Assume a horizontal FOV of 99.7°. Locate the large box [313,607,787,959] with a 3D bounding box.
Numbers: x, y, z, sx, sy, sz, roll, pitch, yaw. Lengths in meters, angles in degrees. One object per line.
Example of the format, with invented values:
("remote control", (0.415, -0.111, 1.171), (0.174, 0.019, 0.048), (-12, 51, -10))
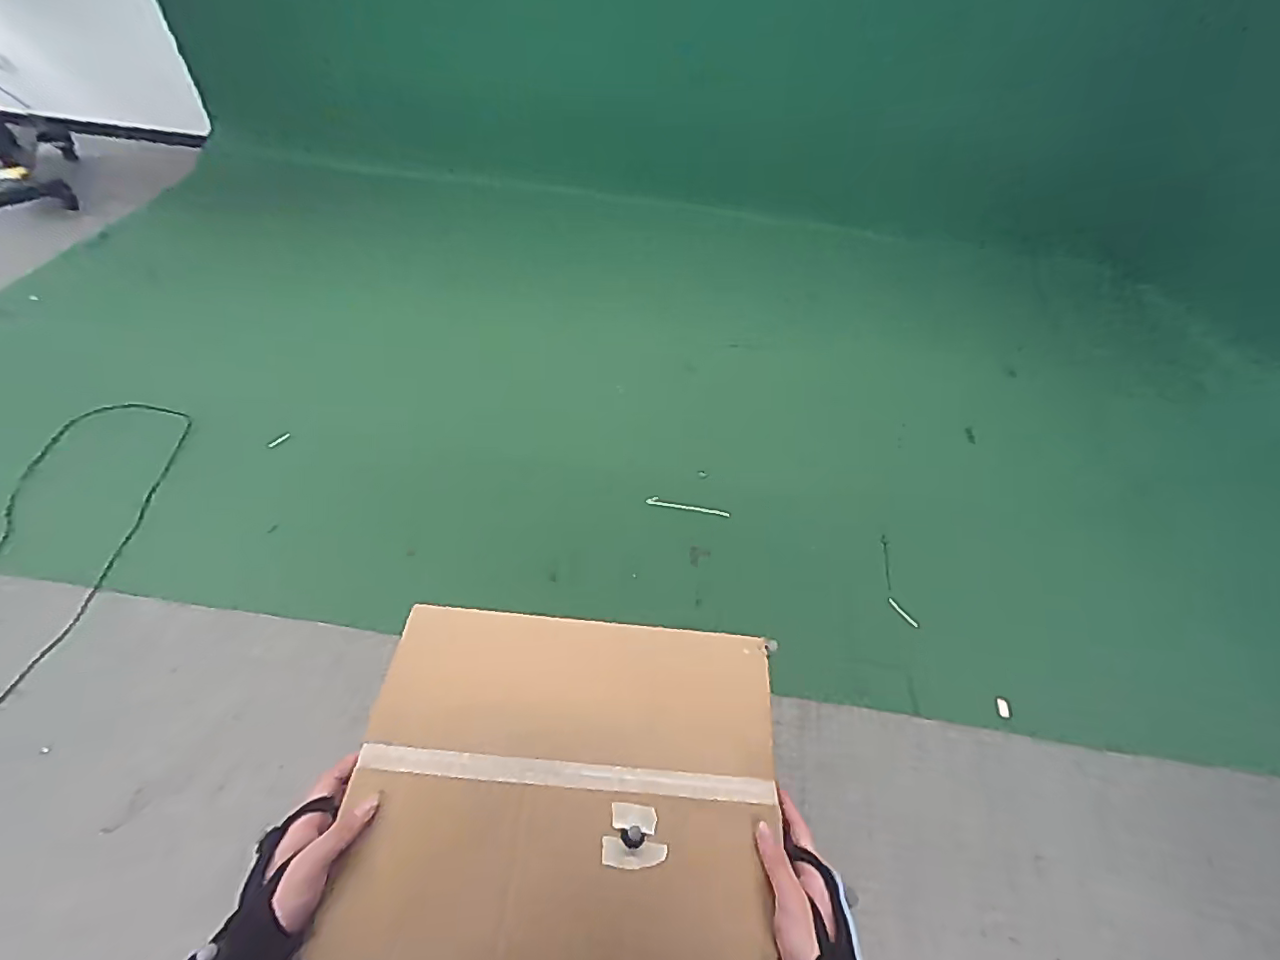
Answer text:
("large box", (-0.076, 0.376, 0.653), (0.408, 0.320, 0.320), (6, 52, -1))
